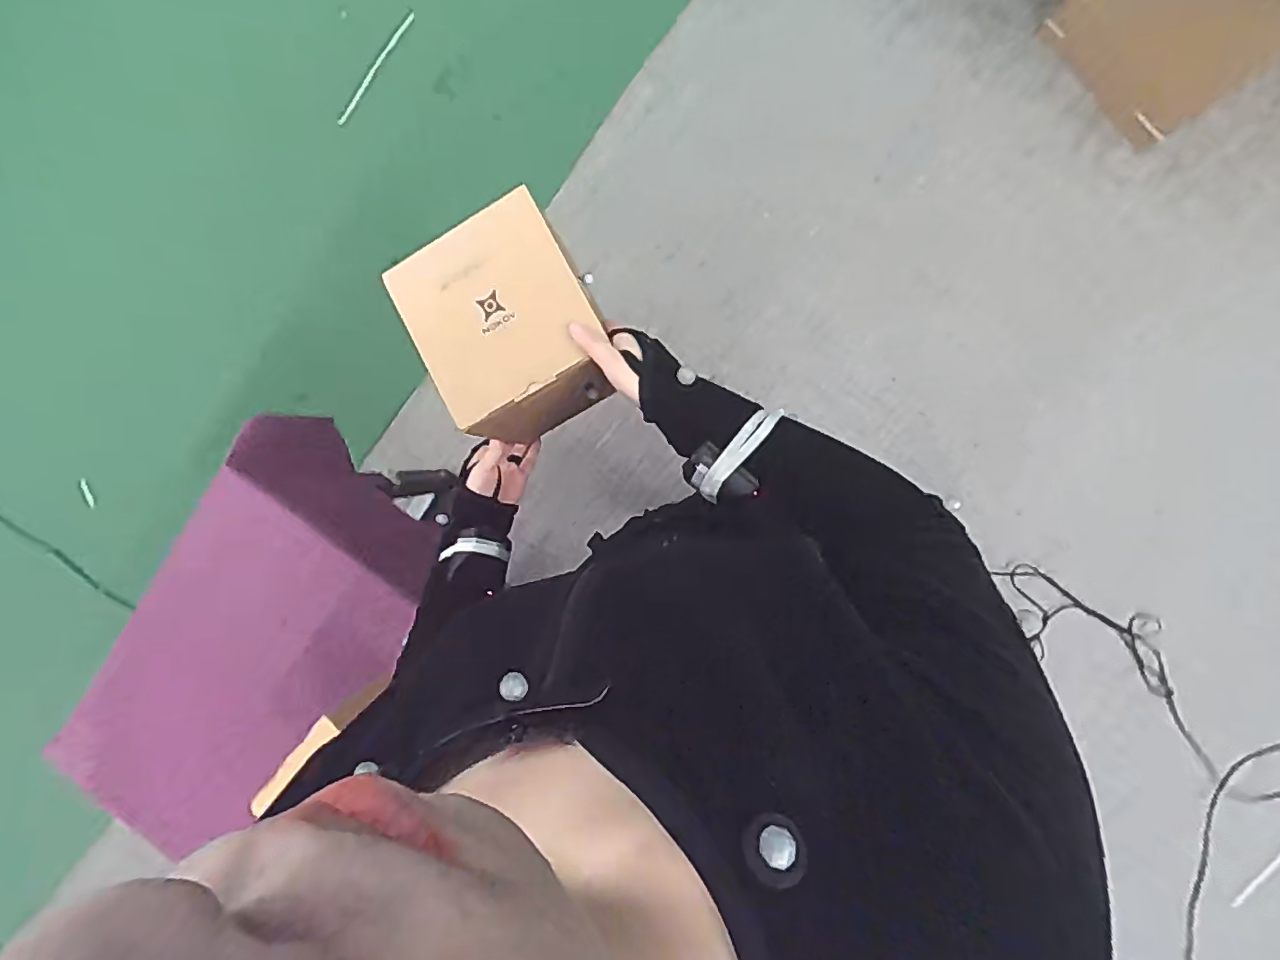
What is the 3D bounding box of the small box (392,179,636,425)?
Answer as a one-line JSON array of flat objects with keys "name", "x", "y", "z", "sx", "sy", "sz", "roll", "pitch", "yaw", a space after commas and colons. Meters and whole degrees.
[{"name": "small box", "x": -0.119, "y": -0.168, "z": 0.583, "sx": 0.168, "sy": 0.176, "sz": 0.179, "roll": -27, "pitch": 86, "yaw": 7}]
